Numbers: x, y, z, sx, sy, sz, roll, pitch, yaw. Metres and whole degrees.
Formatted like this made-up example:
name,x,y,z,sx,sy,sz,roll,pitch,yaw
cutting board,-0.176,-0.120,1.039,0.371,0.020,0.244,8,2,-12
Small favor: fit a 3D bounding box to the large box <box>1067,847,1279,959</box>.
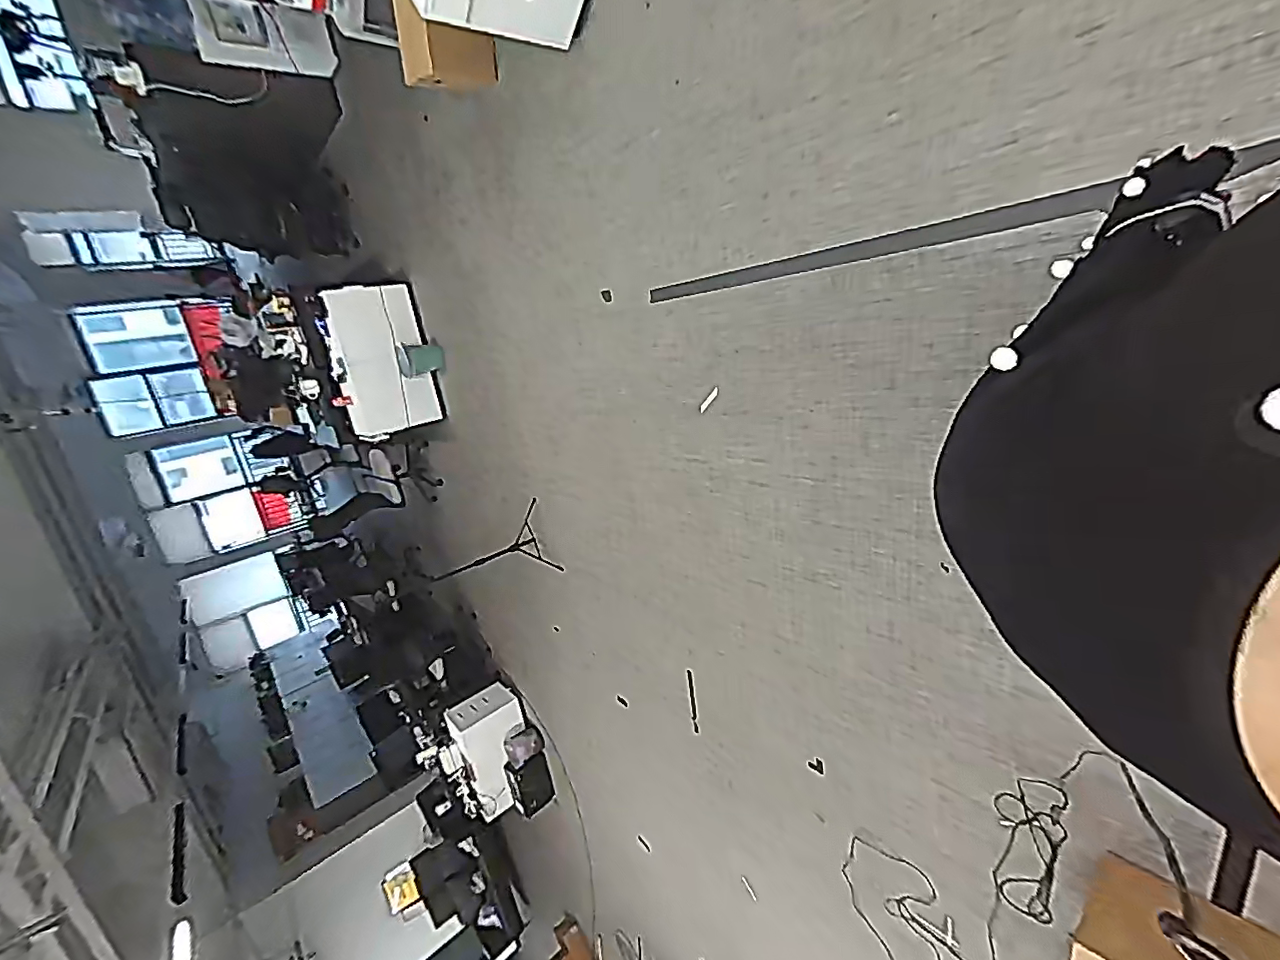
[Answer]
name,x,y,z,sx,sy,sz,roll,pitch,yaw
large box,1.298,1.203,1.279,0.408,0.320,0.320,12,117,49
